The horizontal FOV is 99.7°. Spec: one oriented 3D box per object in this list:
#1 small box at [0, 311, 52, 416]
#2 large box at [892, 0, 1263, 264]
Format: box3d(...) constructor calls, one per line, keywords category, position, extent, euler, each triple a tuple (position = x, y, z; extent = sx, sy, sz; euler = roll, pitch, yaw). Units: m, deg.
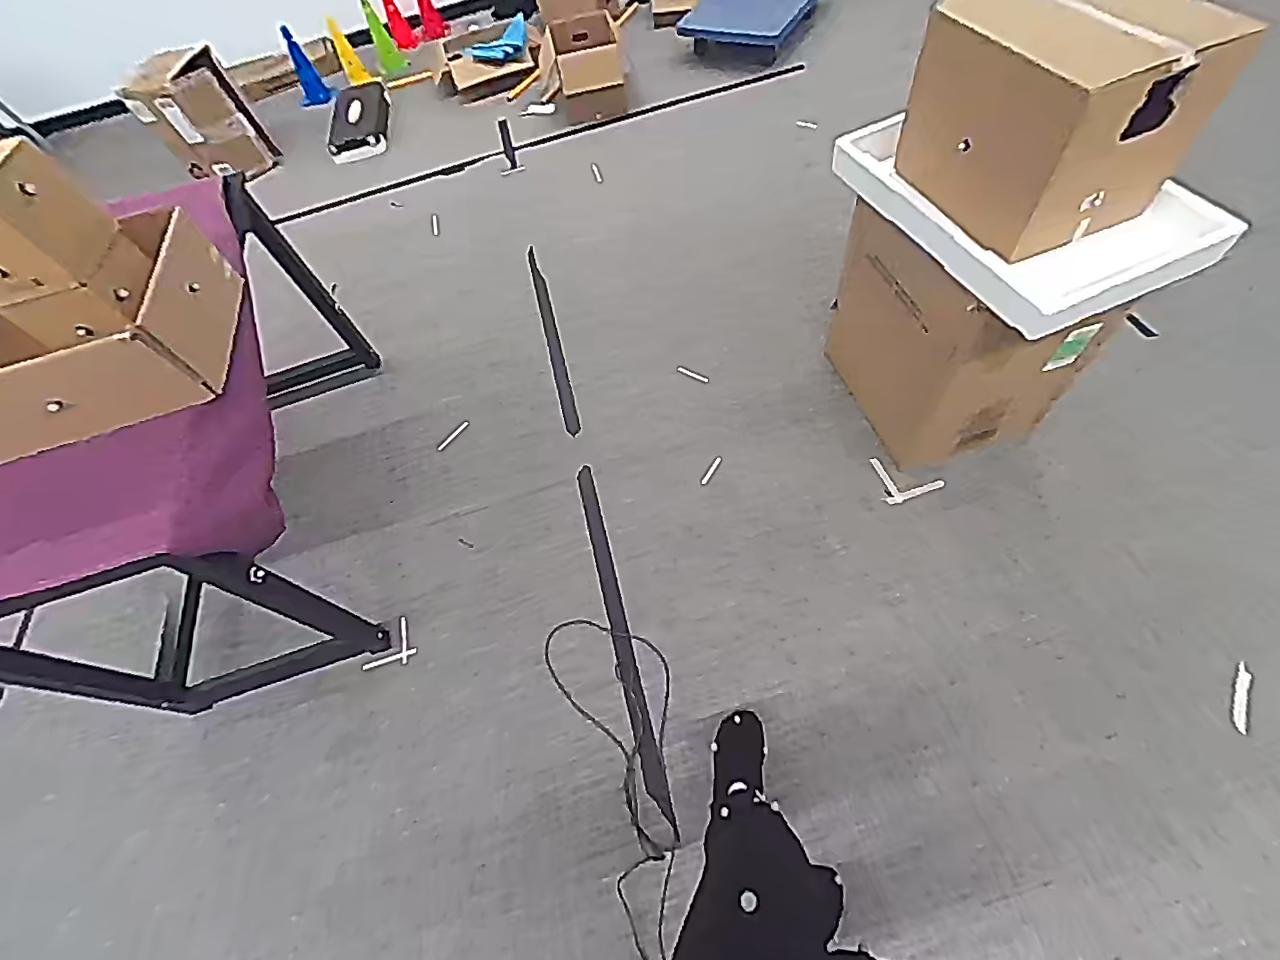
box3d(category="small box", position=(-1.282, -0.225, 1.014), extent=(0.168, 0.176, 0.179), euler=(-19, 58, -4))
box3d(category="large box", position=(0.768, -0.698, 1.044), extent=(0.320, 0.320, 0.408), euler=(-20, 57, -4))
